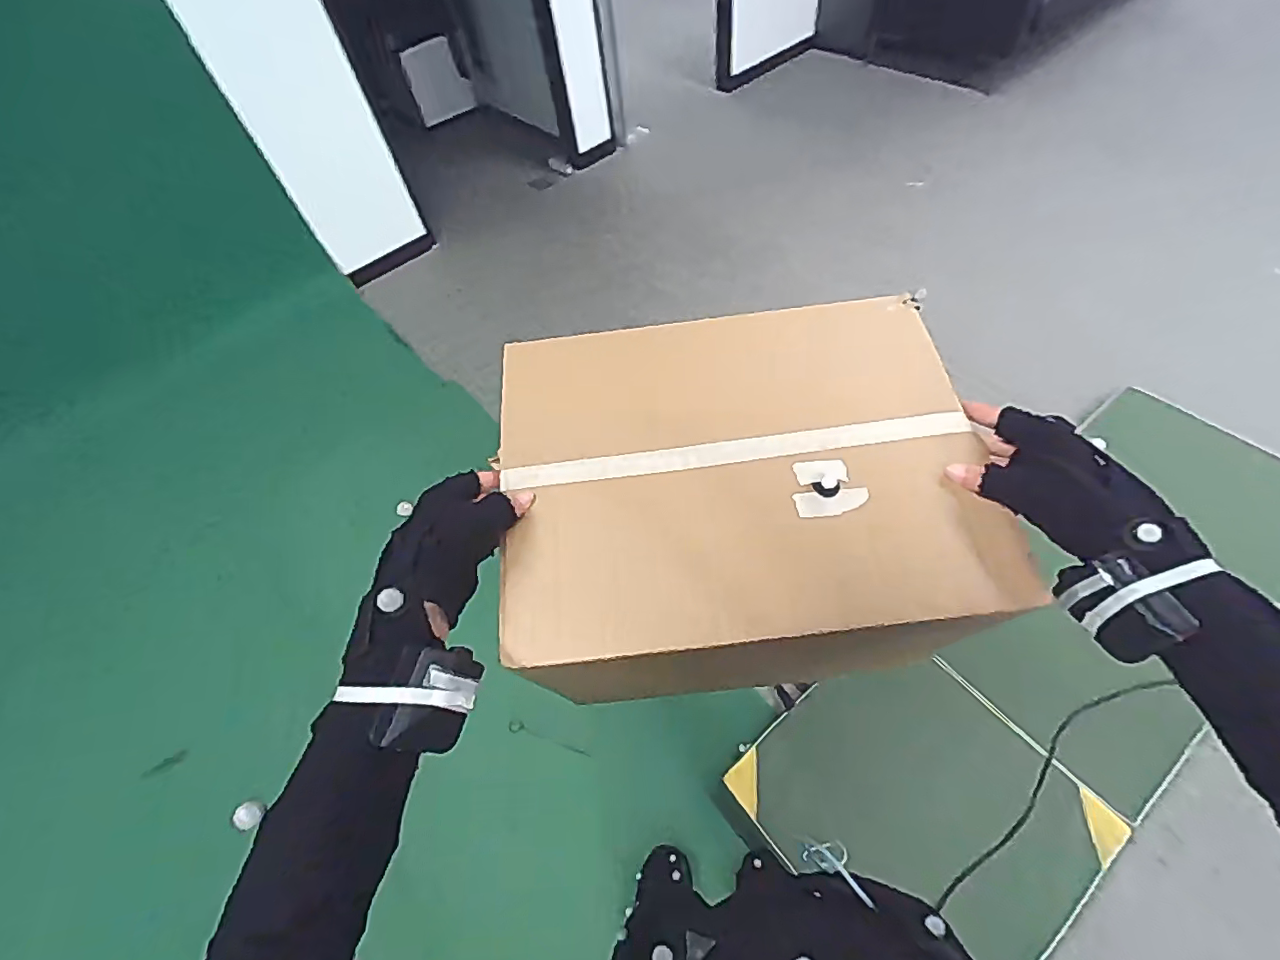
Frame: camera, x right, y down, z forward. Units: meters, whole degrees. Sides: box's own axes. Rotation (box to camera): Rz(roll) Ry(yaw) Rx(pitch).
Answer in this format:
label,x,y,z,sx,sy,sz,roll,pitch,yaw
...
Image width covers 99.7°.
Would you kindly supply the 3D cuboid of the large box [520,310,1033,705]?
label,x,y,z,sx,sy,sz,roll,pitch,yaw
large box,0.097,0.053,0.612,0.408,0.320,0.320,-7,63,0
